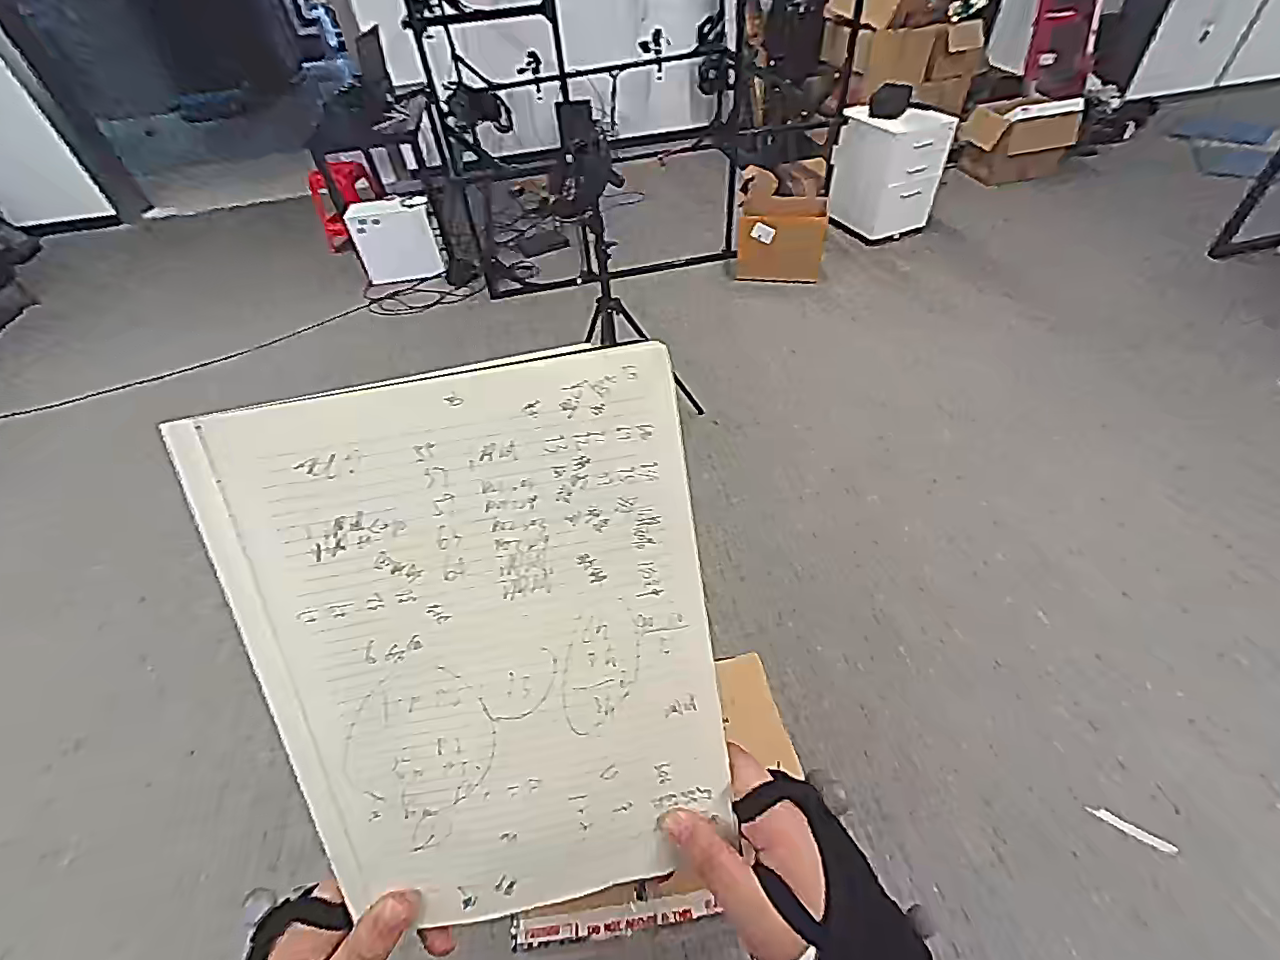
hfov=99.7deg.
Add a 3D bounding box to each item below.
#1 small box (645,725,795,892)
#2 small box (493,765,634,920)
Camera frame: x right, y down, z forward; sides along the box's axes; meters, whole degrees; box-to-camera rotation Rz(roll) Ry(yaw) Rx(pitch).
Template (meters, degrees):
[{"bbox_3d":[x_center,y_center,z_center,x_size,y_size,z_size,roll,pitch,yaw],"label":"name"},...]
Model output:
[{"bbox_3d":[0.110,0.501,0.824,0.179,0.176,0.168,-12,48,-7],"label":"small box"},{"bbox_3d":[-0.103,0.541,0.805,0.179,0.176,0.168,-7,48,1],"label":"small box"}]
